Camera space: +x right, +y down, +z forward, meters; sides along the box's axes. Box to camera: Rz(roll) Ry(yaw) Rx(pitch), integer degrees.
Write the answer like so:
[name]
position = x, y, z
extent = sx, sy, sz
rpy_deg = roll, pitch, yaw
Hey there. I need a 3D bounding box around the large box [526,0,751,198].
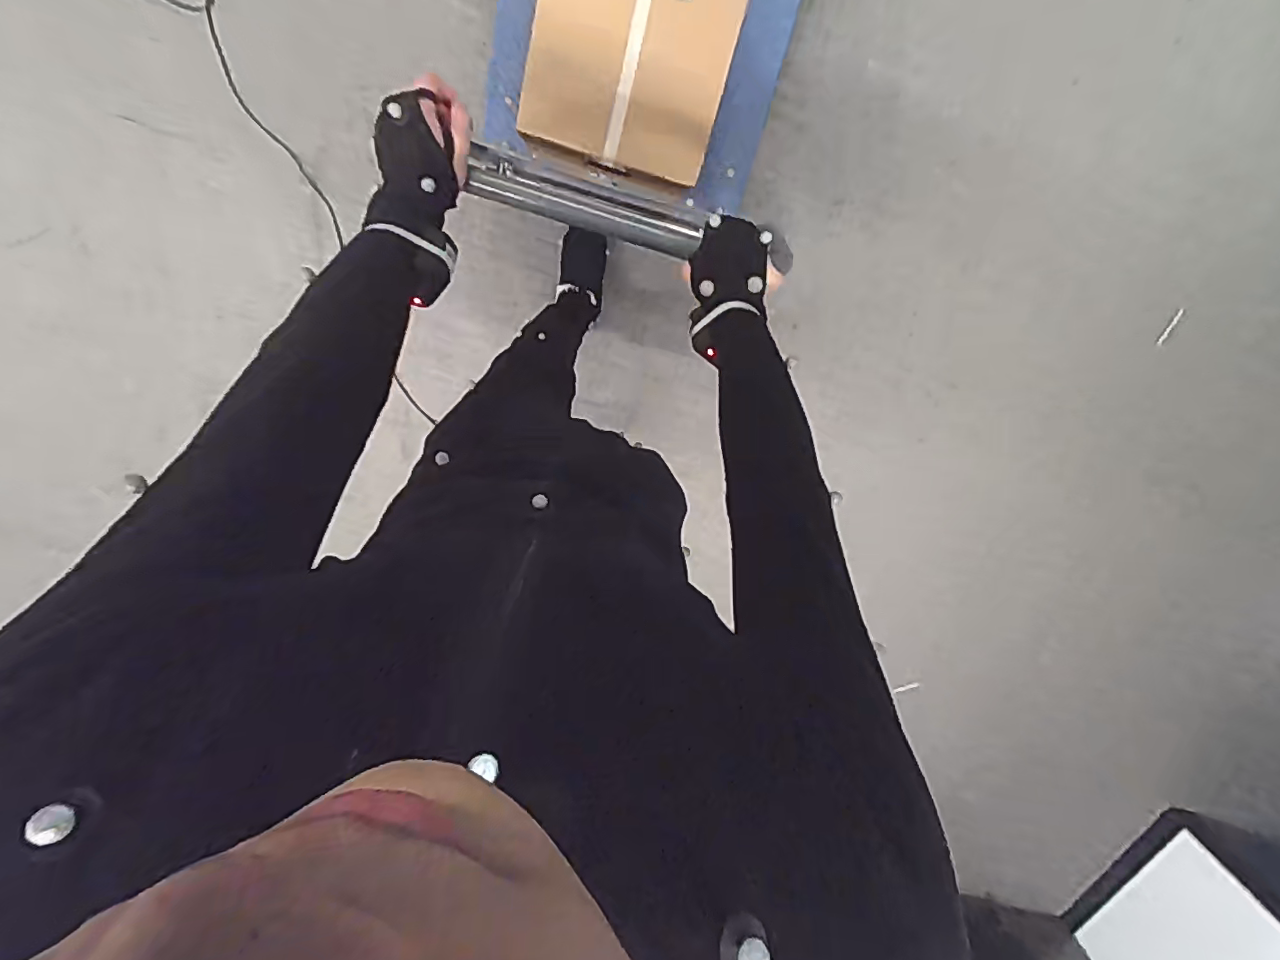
[large box]
position = 0.004, -0.778, 0.971
extent = 0.320, 0.320, 0.408
rpy_deg = 14, 111, -8
